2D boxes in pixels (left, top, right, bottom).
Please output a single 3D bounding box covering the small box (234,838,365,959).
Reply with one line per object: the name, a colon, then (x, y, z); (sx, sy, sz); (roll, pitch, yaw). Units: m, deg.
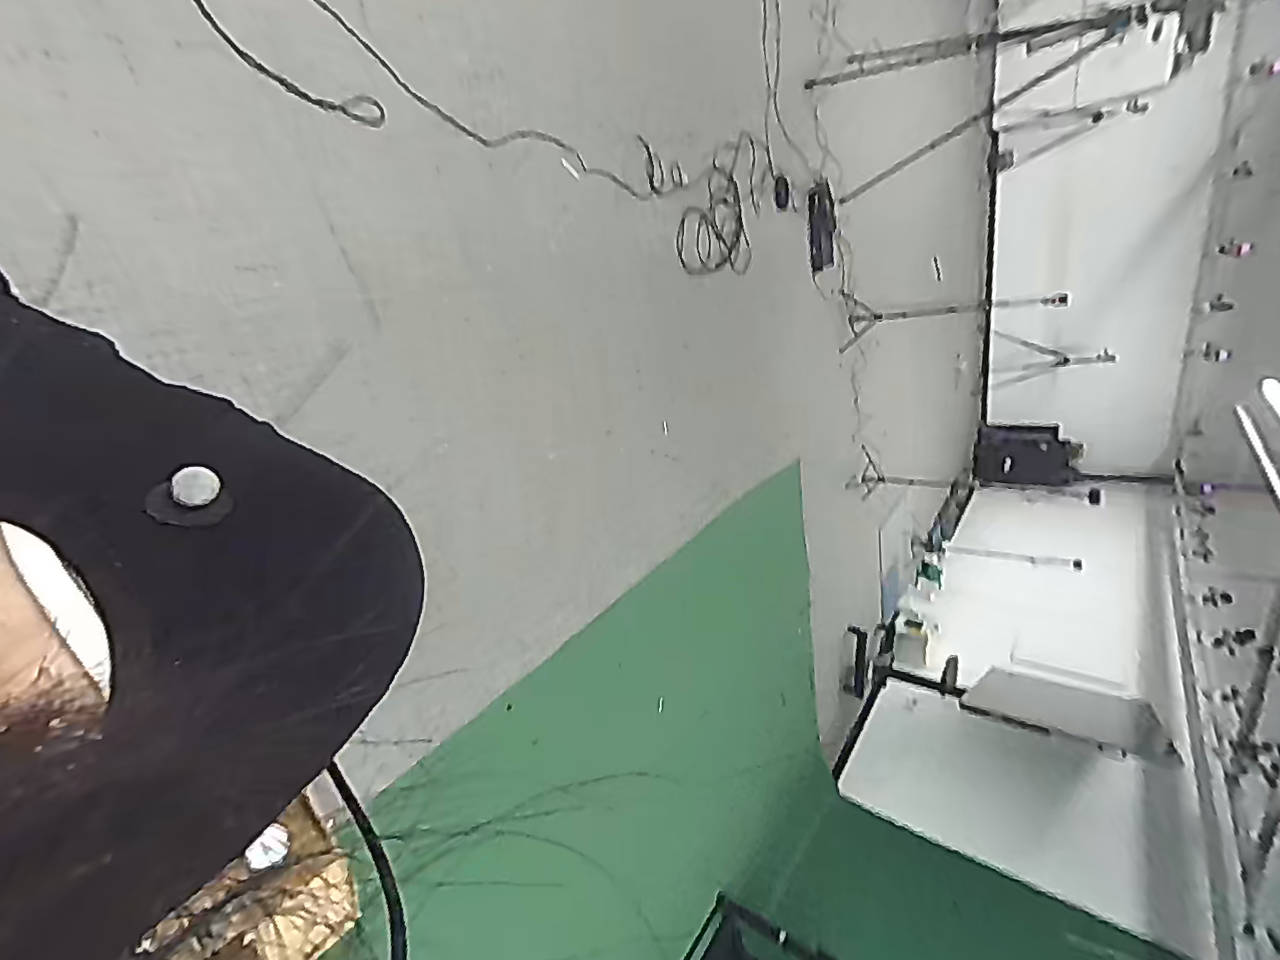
small box: (-0.725, 0.909, 1.151); (0.168, 0.176, 0.179); (-27, 114, -45)
